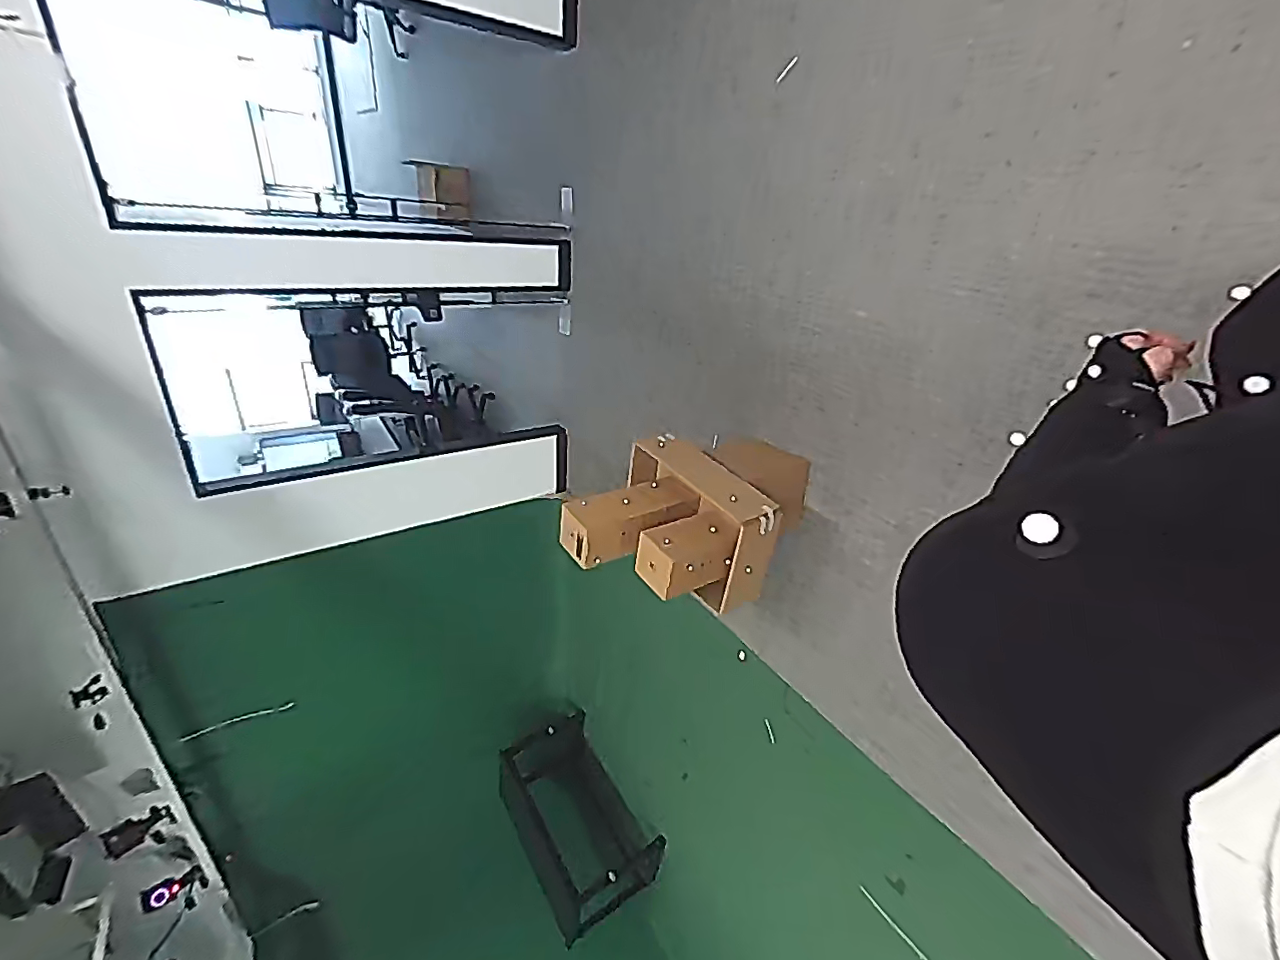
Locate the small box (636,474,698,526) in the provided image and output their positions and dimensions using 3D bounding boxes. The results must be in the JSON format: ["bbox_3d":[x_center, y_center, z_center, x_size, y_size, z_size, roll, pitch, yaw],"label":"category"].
[{"bbox_3d":[0.092,0.092,2.054,0.179,0.176,0.168,38,132,42],"label":"small box"}]

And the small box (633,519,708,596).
[{"bbox_3d":[0.101,0.248,1.794,0.179,0.176,0.168,41,132,43],"label":"small box"}]

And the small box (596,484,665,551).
[{"bbox_3d":[-0.036,0.127,1.962,0.179,0.176,0.168,37,130,42],"label":"small box"}]
